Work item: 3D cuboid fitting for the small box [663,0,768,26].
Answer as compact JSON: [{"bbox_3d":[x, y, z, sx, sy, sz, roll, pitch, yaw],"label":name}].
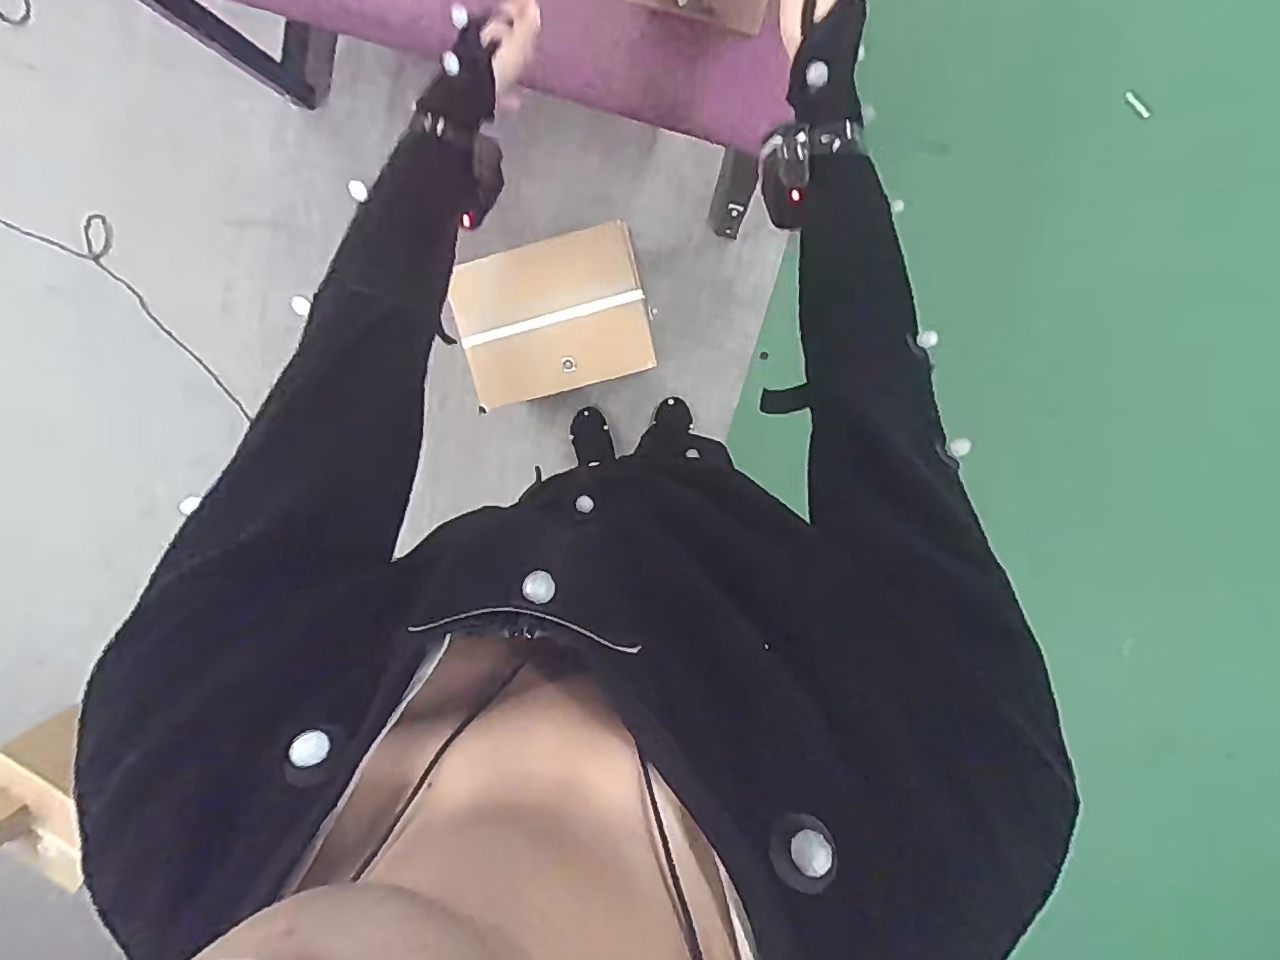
[{"bbox_3d":[0.083,-0.626,0.547,0.168,0.176,0.179,17,102,1],"label":"small box"}]
